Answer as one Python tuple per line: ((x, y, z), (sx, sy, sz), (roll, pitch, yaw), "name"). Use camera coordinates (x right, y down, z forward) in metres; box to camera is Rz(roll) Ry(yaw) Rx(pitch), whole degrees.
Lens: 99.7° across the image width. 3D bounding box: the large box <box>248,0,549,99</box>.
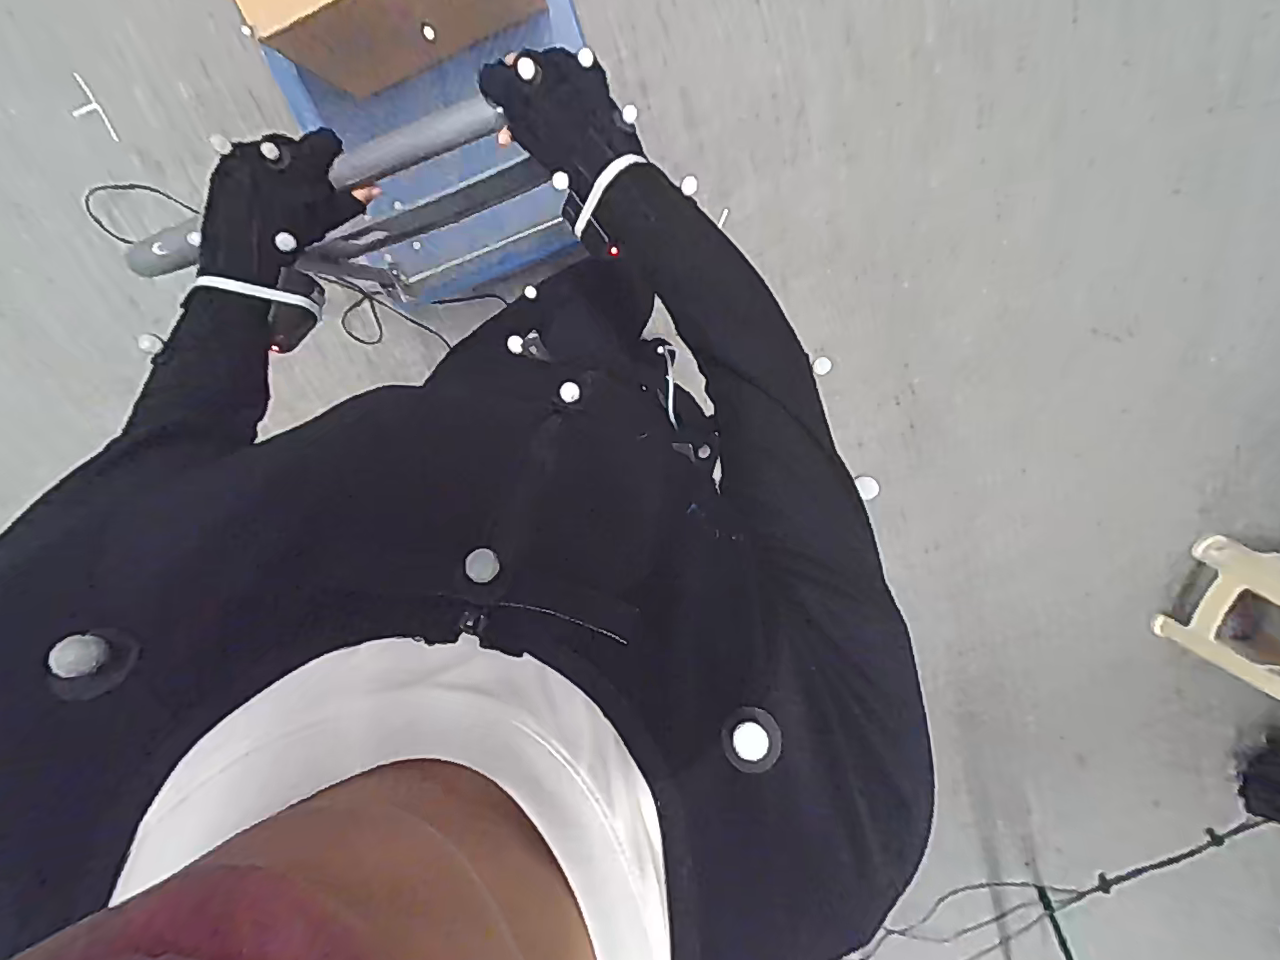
((-0.400, -0.877, 0.834), (0.408, 0.320, 0.320), (-20, 110, 8), "large box")
